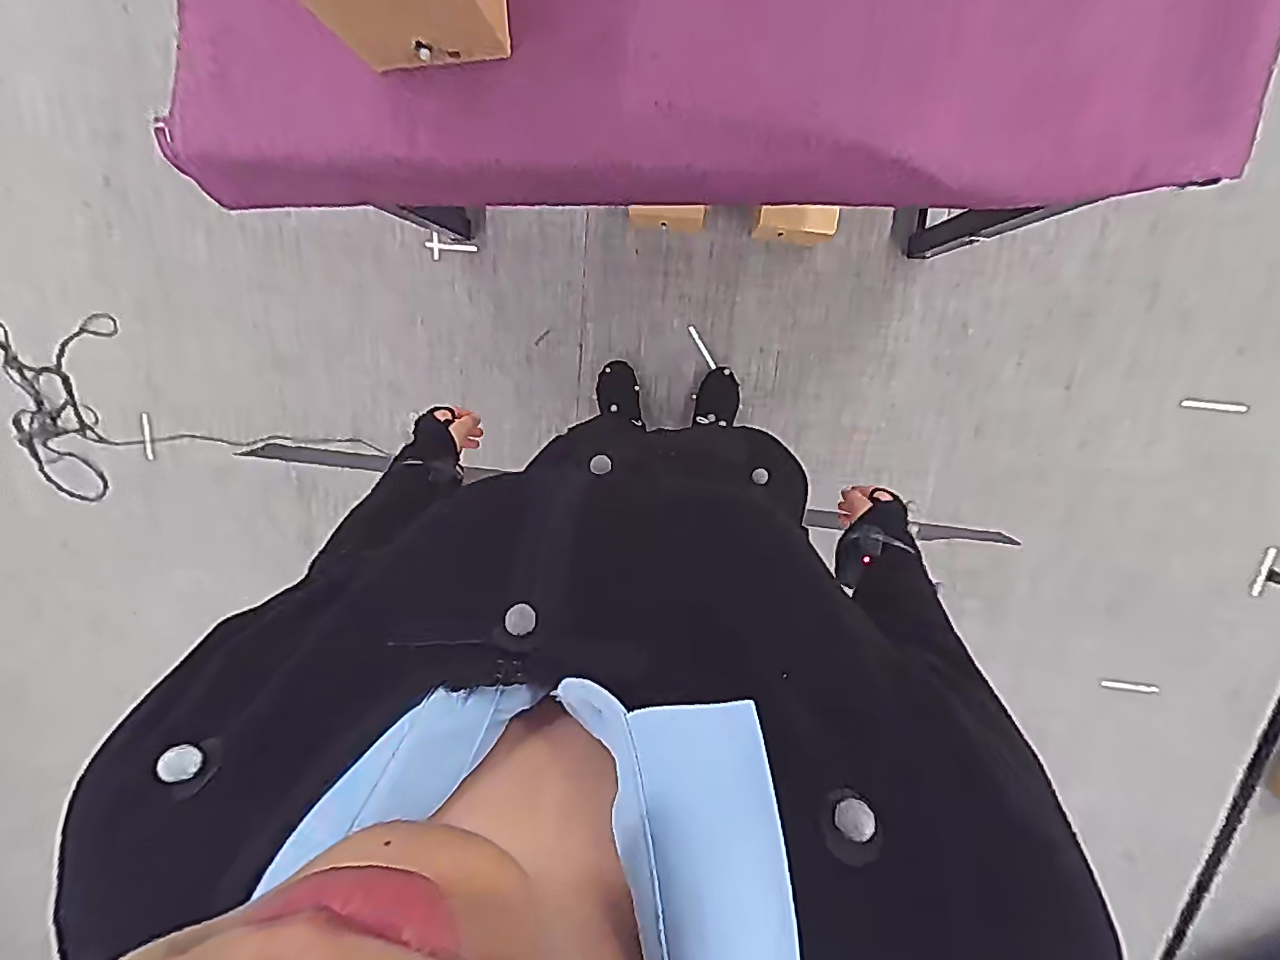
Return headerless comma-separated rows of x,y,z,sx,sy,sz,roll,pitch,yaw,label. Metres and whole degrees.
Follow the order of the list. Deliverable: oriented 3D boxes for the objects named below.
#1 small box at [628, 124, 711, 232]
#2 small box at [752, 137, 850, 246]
0.068,-0.681,1.239,0.168,0.176,0.179,6,104,2,small box
0.355,-0.644,1.229,0.168,0.176,0.179,9,104,2,small box
